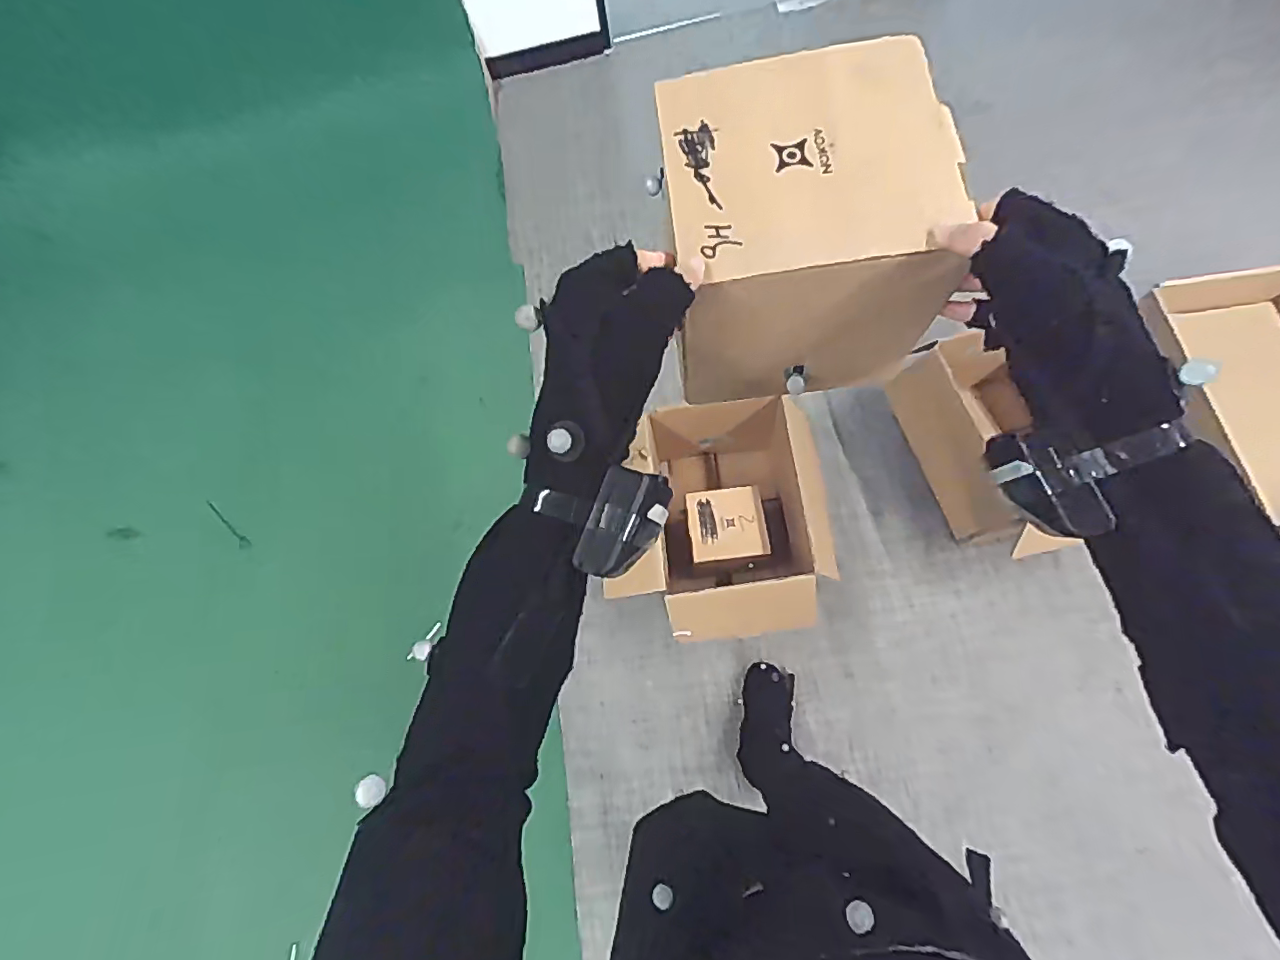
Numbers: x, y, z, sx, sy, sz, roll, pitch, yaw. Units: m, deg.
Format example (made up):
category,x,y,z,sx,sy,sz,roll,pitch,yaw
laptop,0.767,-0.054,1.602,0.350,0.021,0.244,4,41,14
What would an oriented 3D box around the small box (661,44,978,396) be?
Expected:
category,x,y,z,sx,sy,sz,roll,pitch,yaw
small box,0.110,-0.178,0.414,0.179,0.176,0.168,-6,72,4
